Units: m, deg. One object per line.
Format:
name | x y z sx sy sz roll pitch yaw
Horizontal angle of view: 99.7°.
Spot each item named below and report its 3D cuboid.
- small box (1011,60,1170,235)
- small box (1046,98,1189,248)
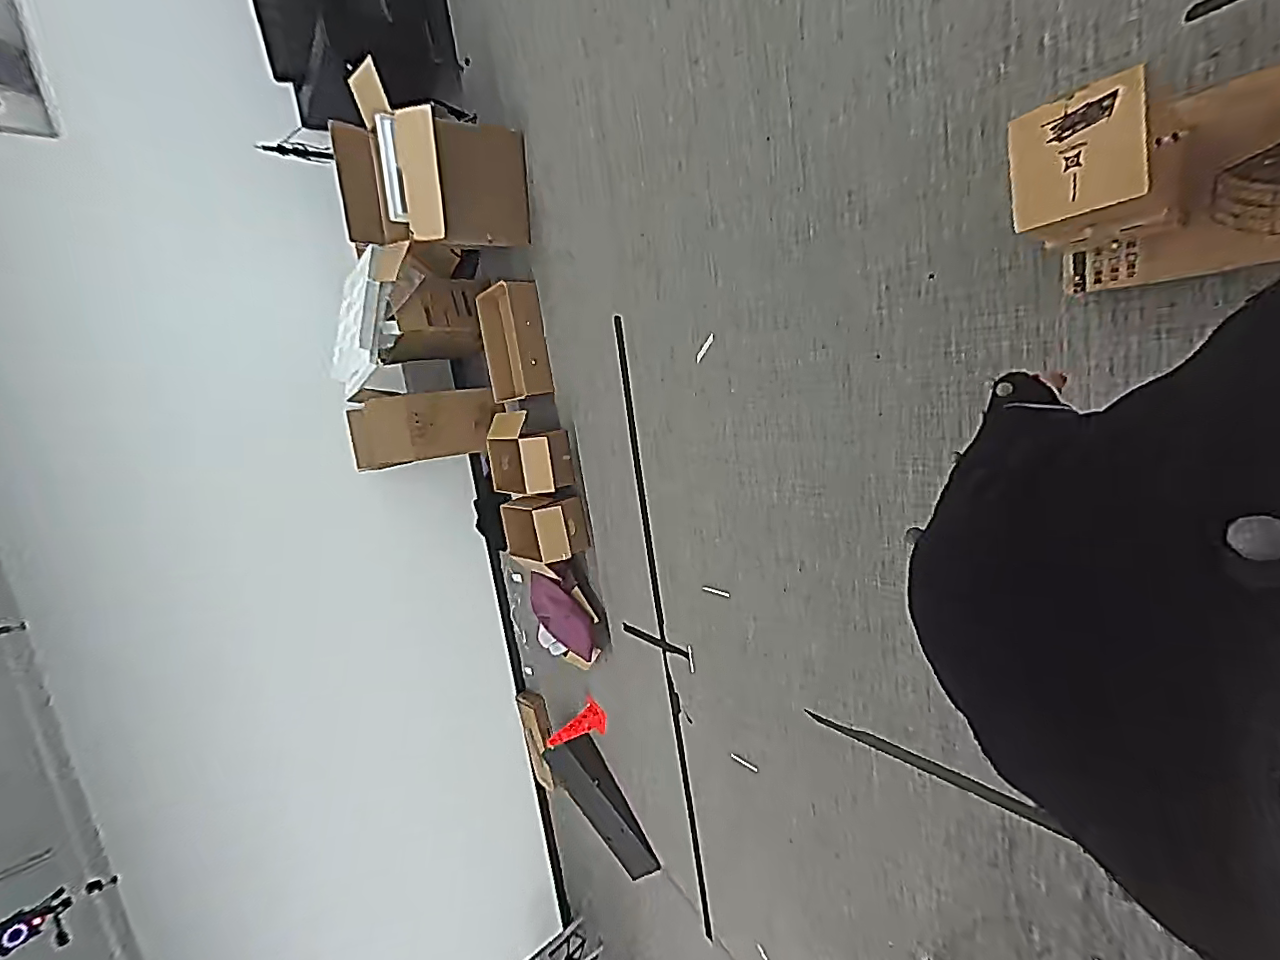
small box | 0.716 -0.509 0.860 0.168 0.176 0.179 1 103 52
small box | 0.845 -0.528 0.960 0.168 0.176 0.179 4 105 51
